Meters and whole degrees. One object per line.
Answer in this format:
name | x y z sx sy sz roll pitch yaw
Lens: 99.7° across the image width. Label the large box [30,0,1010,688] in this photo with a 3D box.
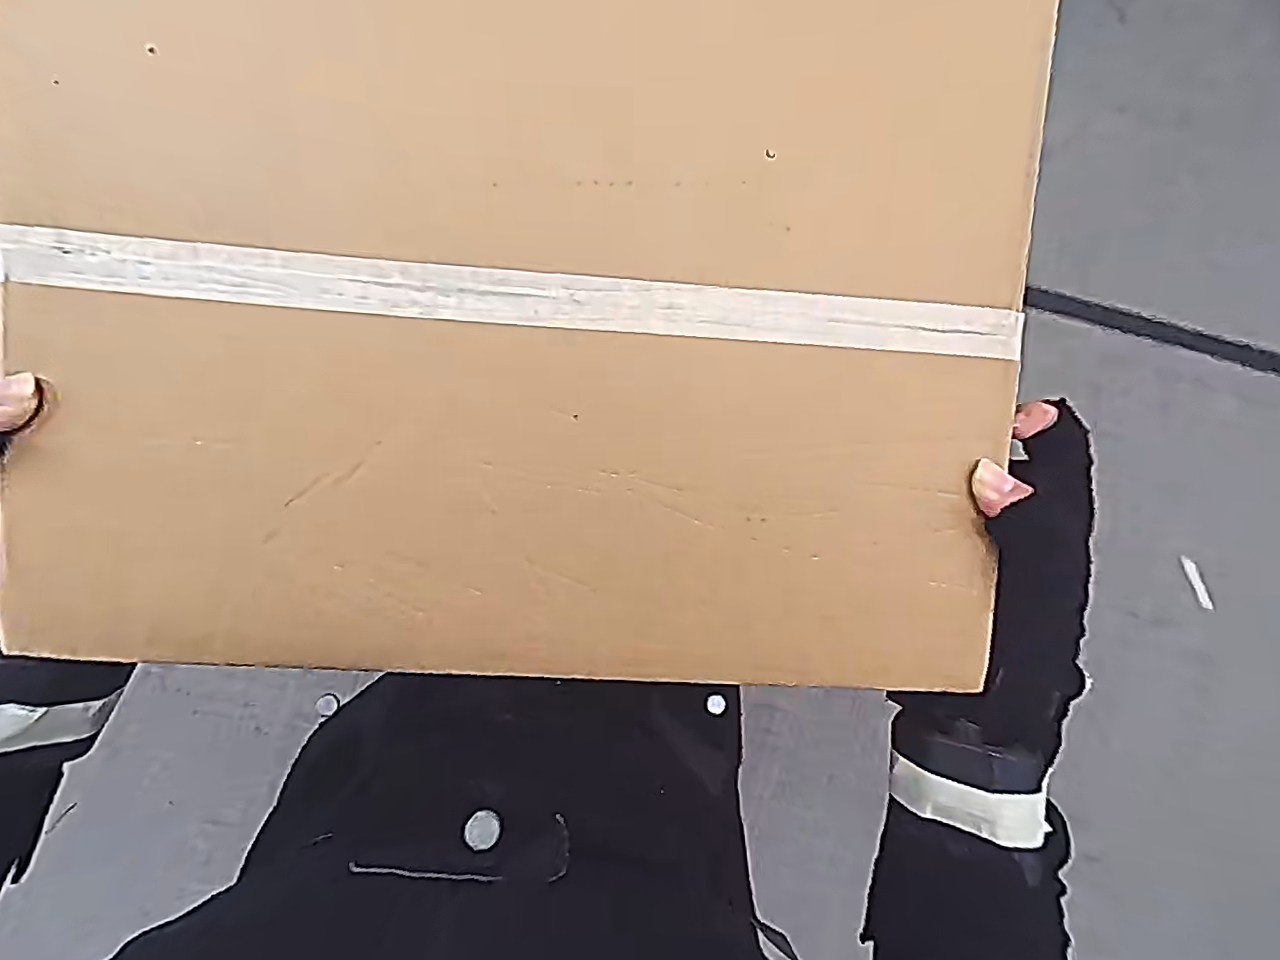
large box | -0.052 -0.075 0.381 0.408 0.320 0.320 4 93 -4
